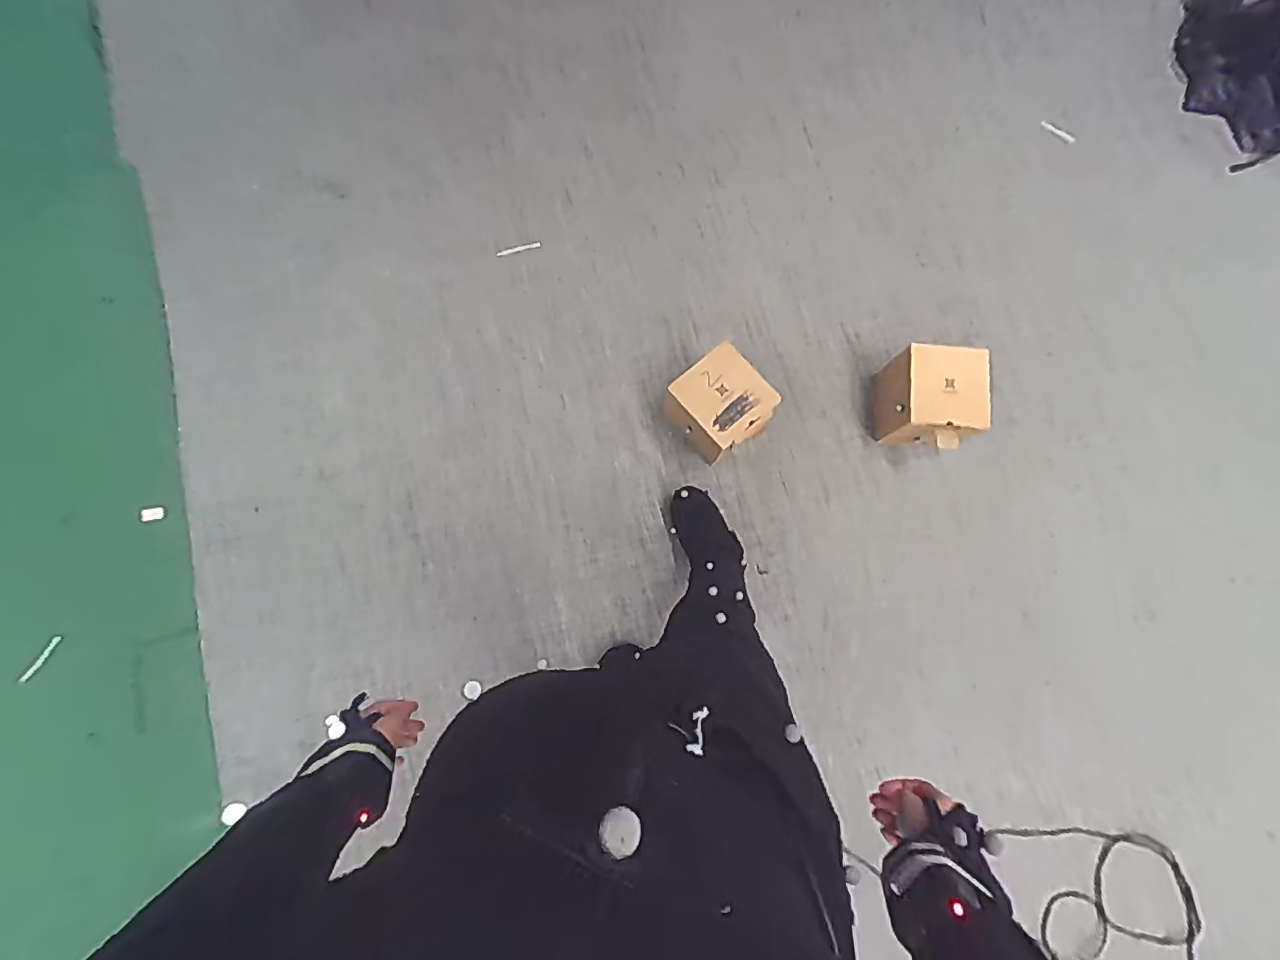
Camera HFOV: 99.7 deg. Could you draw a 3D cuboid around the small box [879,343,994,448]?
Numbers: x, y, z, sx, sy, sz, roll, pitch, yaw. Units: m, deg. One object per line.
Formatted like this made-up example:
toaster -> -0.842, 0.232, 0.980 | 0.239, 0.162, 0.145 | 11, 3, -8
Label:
small box -> 0.639, -0.179, 1.182 | 0.168, 0.176, 0.179 | 5, 81, 1
